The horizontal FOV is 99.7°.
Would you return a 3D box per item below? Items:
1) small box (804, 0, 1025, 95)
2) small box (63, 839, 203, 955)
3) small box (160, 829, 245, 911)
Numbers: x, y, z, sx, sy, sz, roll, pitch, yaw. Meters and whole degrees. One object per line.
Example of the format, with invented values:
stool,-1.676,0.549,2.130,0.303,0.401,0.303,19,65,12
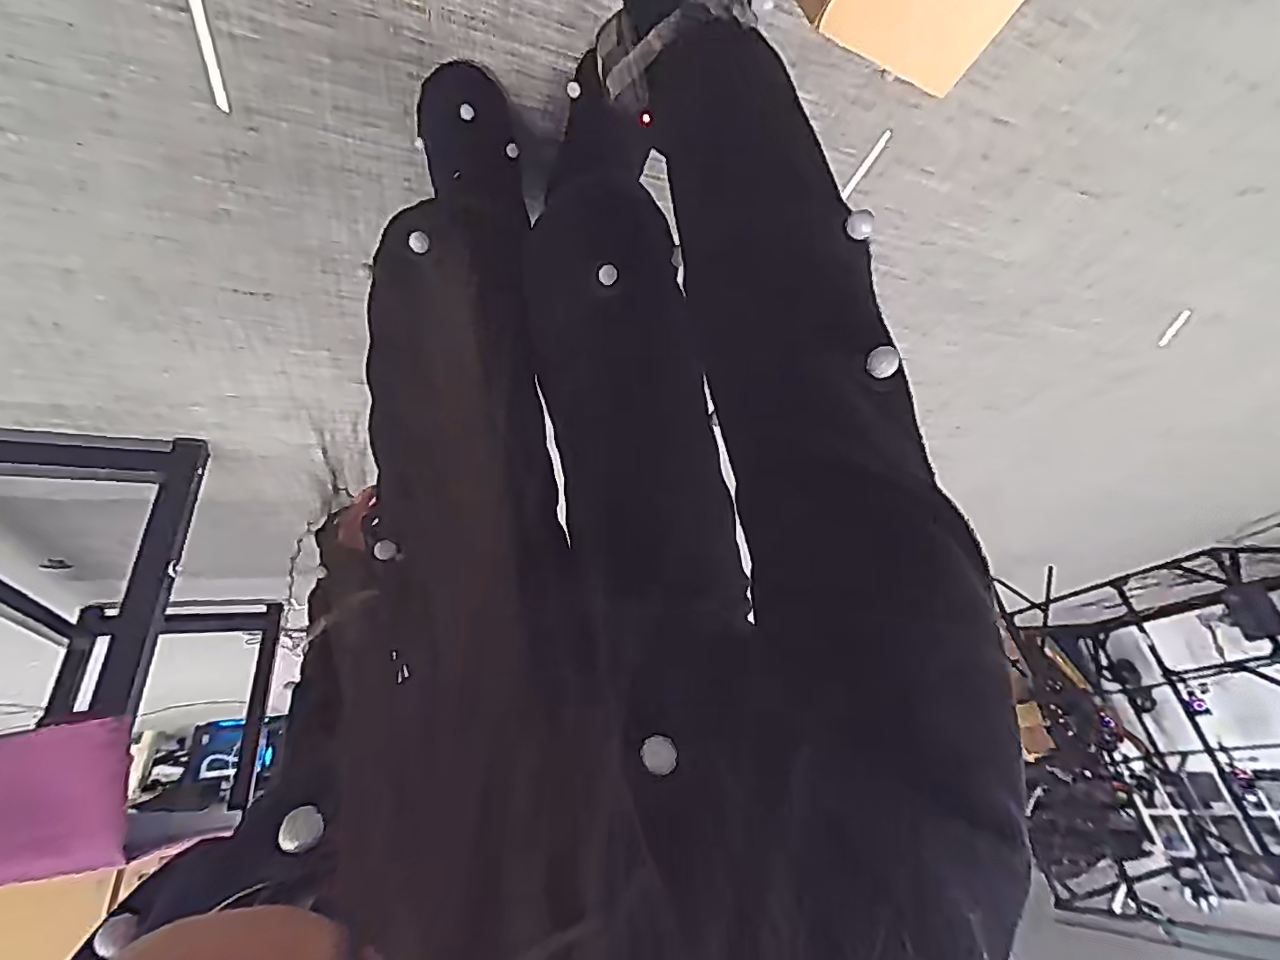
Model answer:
small box,0.254,-0.504,0.485,0.179,0.176,0.168,5,150,-25
small box,-1.117,0.918,1.214,0.179,0.176,0.168,3,151,-20
small box,-1.214,1.072,1.484,0.168,0.176,0.179,3,150,-21
